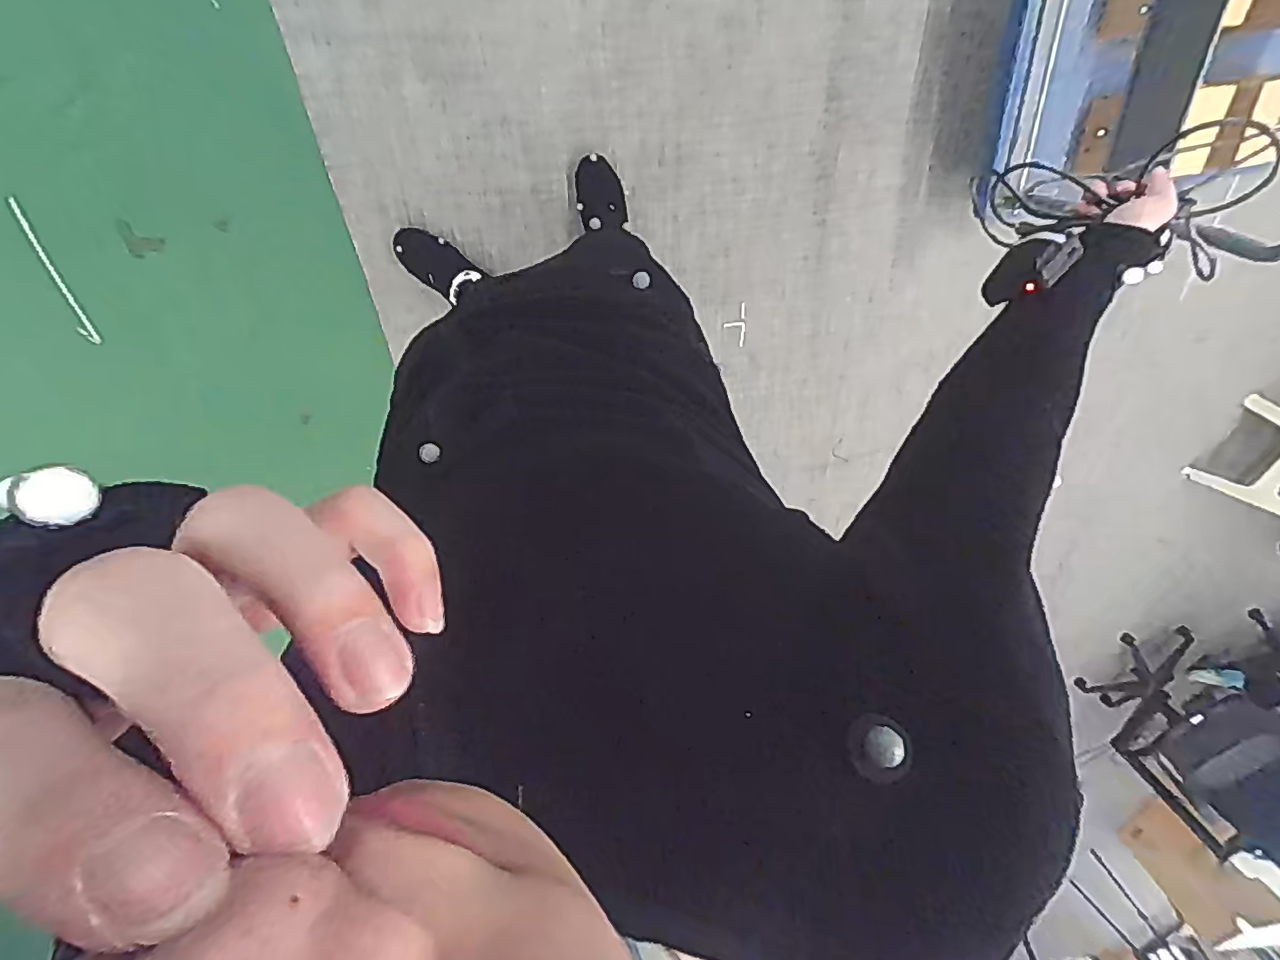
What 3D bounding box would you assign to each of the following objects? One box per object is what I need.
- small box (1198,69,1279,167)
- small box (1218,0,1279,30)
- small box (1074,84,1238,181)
[{"bbox_3d":[1.391,-0.832,1.239,0.179,0.176,0.168,-13,124,-2],"label":"small box"},{"bbox_3d":[1.358,-1.041,1.095,0.179,0.176,0.168,-15,125,-1],"label":"small box"},{"bbox_3d":[1.151,-0.788,1.224,0.179,0.176,0.168,-10,124,-4],"label":"small box"}]
